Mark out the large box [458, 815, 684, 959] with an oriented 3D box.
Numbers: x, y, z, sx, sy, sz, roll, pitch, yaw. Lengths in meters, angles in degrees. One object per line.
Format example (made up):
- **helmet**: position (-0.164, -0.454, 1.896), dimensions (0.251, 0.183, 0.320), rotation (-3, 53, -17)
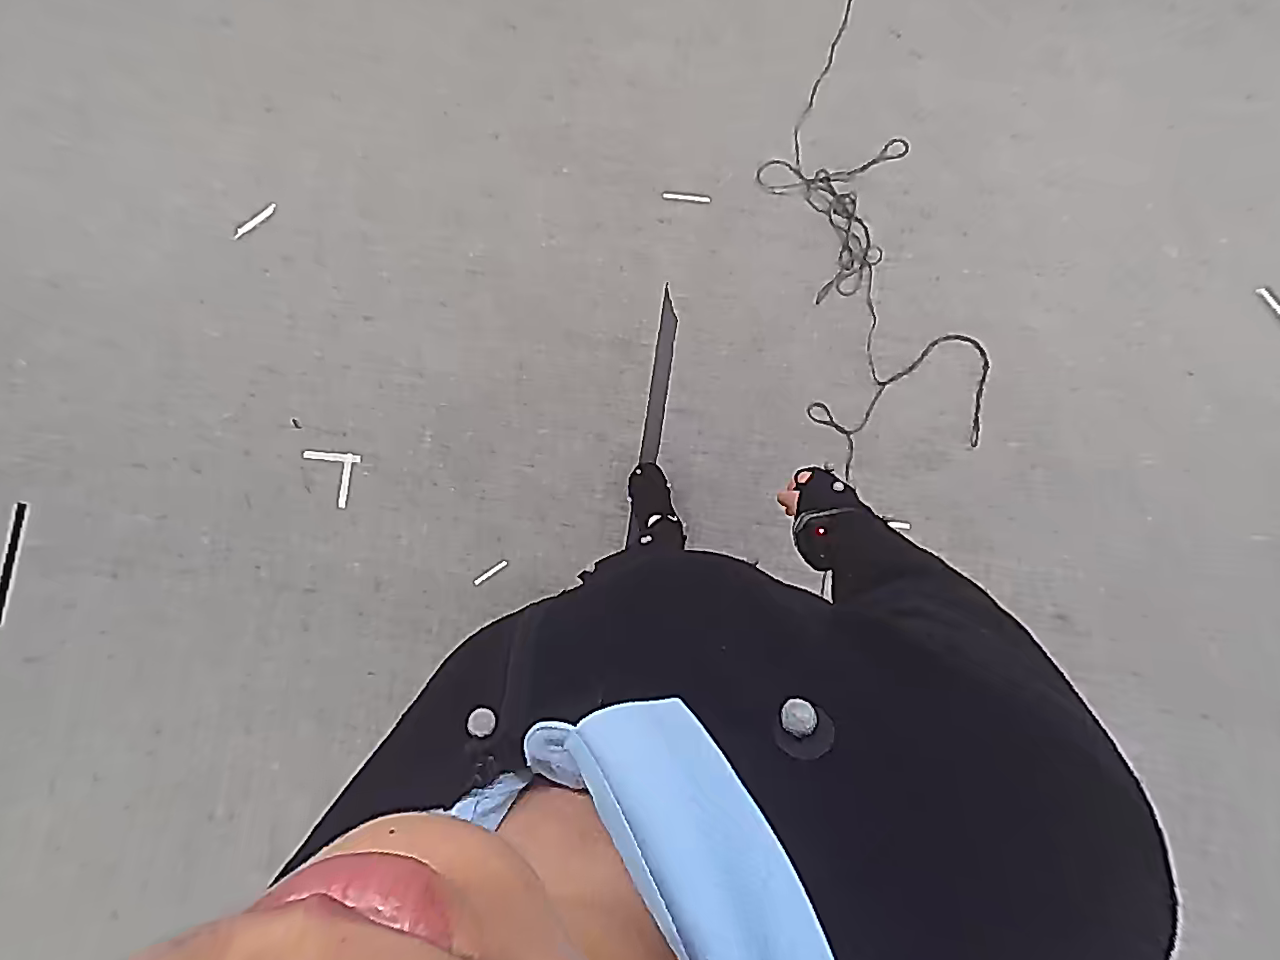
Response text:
- **large box**: position (-0.124, 0.940, 1.093), dimensions (0.408, 0.320, 0.320), rotation (8, 83, 5)
